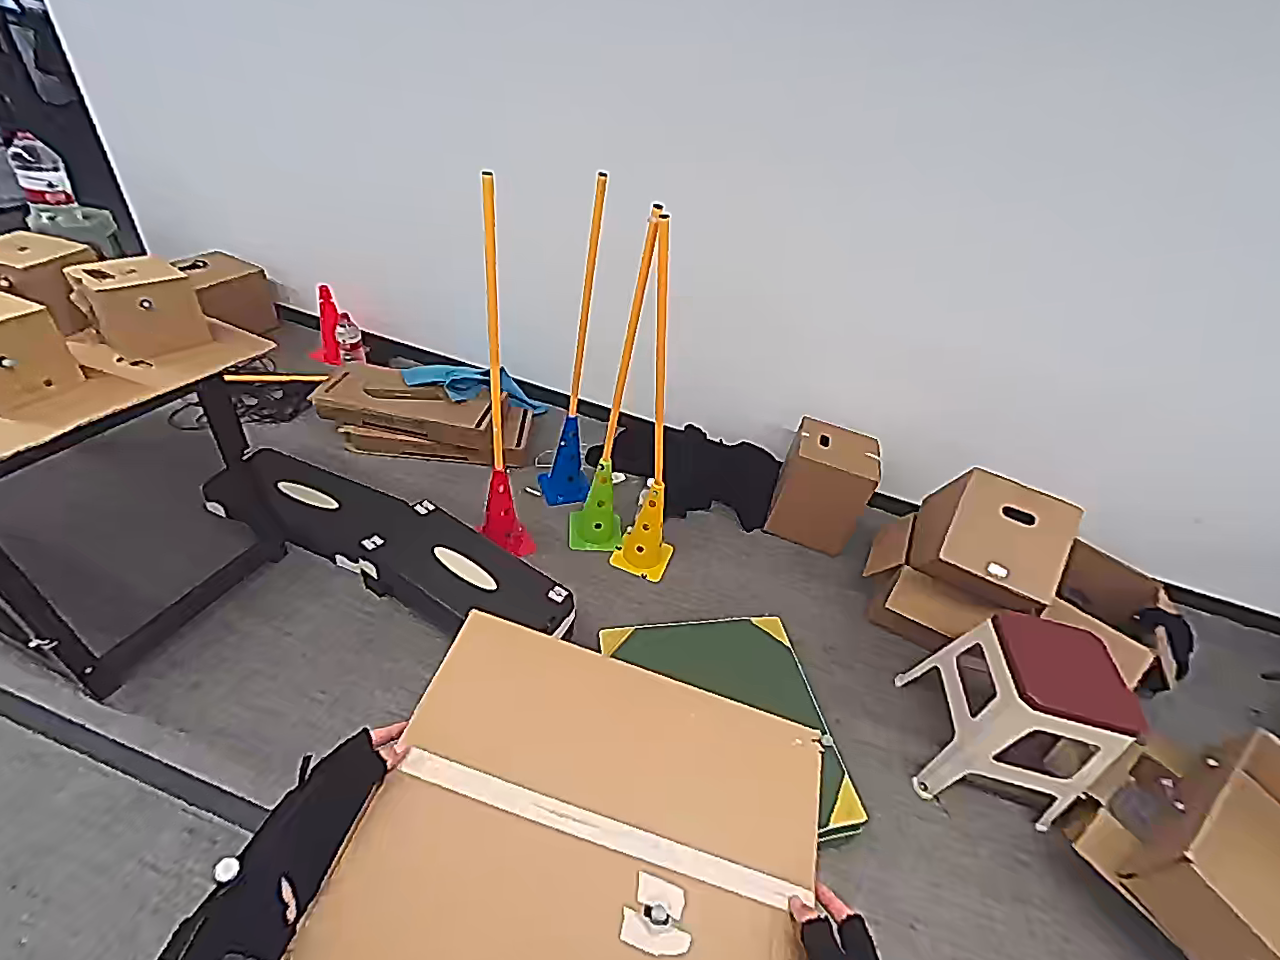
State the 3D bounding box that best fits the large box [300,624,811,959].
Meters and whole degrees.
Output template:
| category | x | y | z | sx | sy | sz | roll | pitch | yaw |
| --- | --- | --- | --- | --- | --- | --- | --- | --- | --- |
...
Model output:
| category | x | y | z | sx | sy | sz | roll | pitch | yaw |
| --- | --- | --- | --- | --- | --- | --- | --- | --- | --- |
| large box | -0.066 | 0.423 | 0.614 | 0.408 | 0.320 | 0.320 | 19 | 49 | 3 |
